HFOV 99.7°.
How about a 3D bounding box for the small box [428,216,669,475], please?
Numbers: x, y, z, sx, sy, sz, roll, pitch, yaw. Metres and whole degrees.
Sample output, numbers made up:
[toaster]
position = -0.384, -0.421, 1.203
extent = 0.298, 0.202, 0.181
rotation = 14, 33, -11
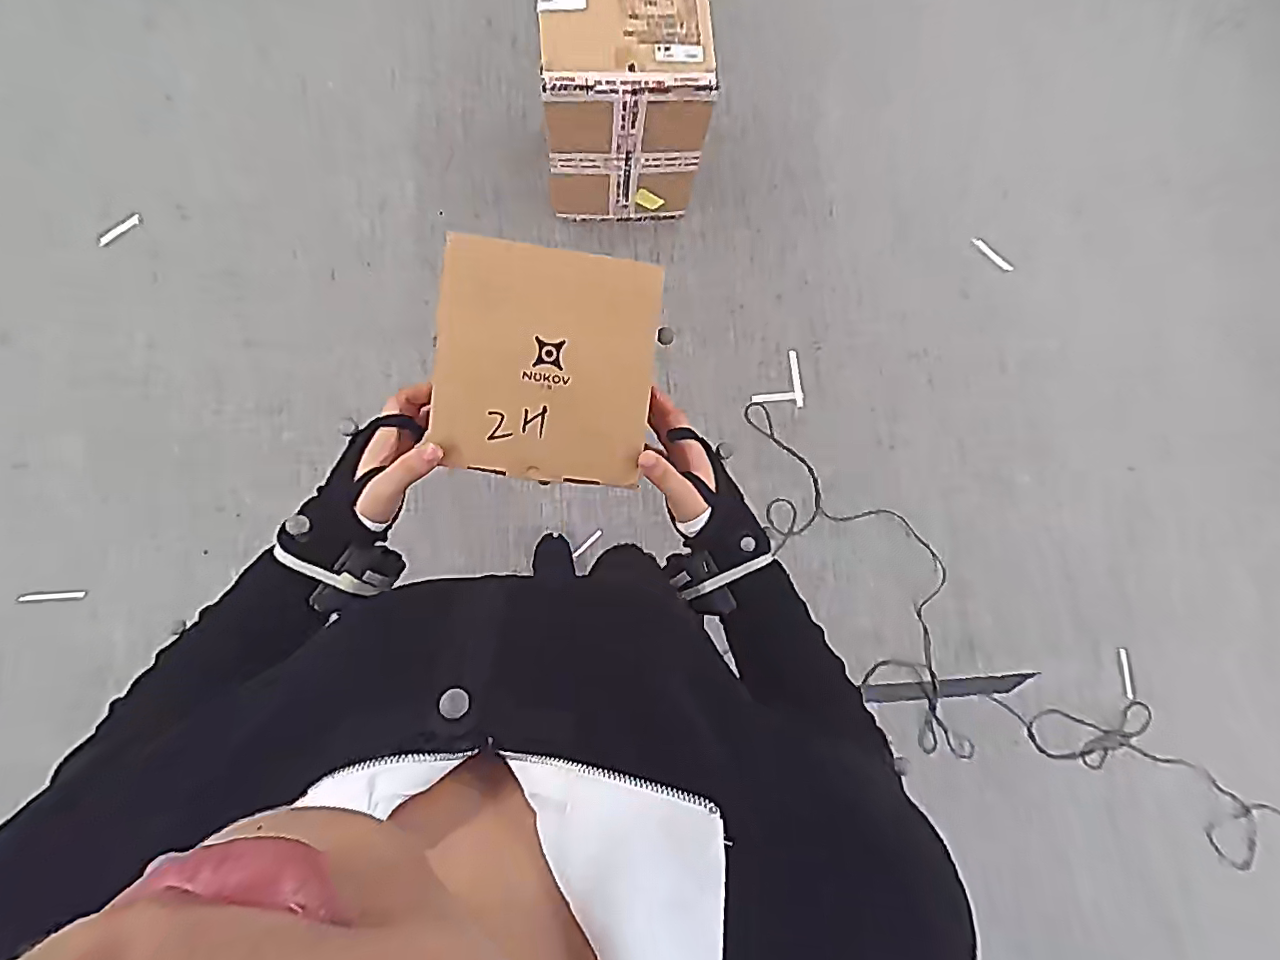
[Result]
[small box]
position = -0.077, -0.105, 0.490
extent = 0.168, 0.176, 0.179
rotation = 7, 94, -6
